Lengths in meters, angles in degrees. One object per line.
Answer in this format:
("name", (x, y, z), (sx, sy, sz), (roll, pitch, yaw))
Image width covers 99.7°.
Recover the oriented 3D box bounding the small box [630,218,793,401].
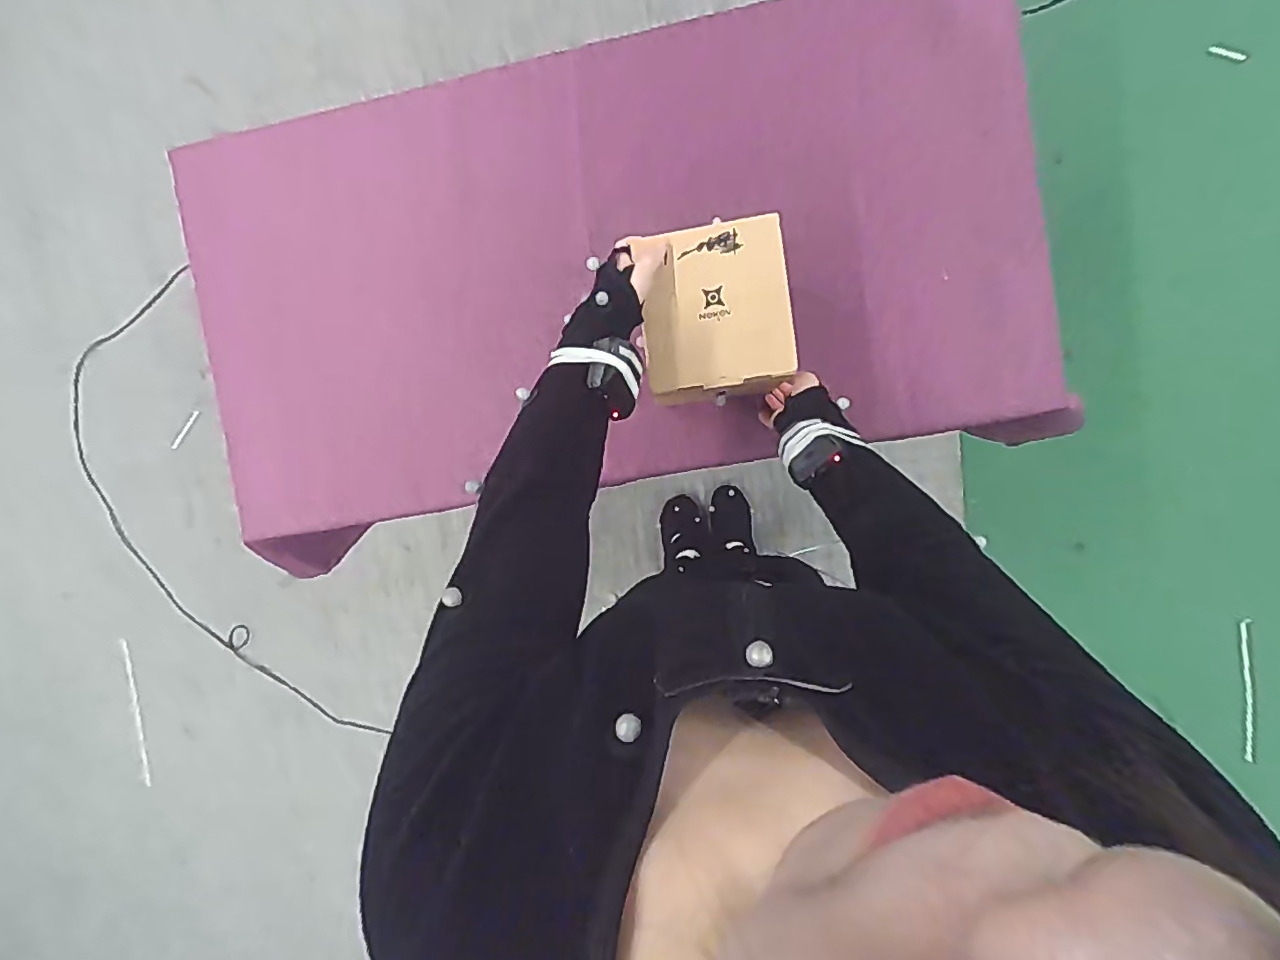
("small box", (0.087, -0.195, 0.674), (0.168, 0.176, 0.179), (-7, 94, 6))
